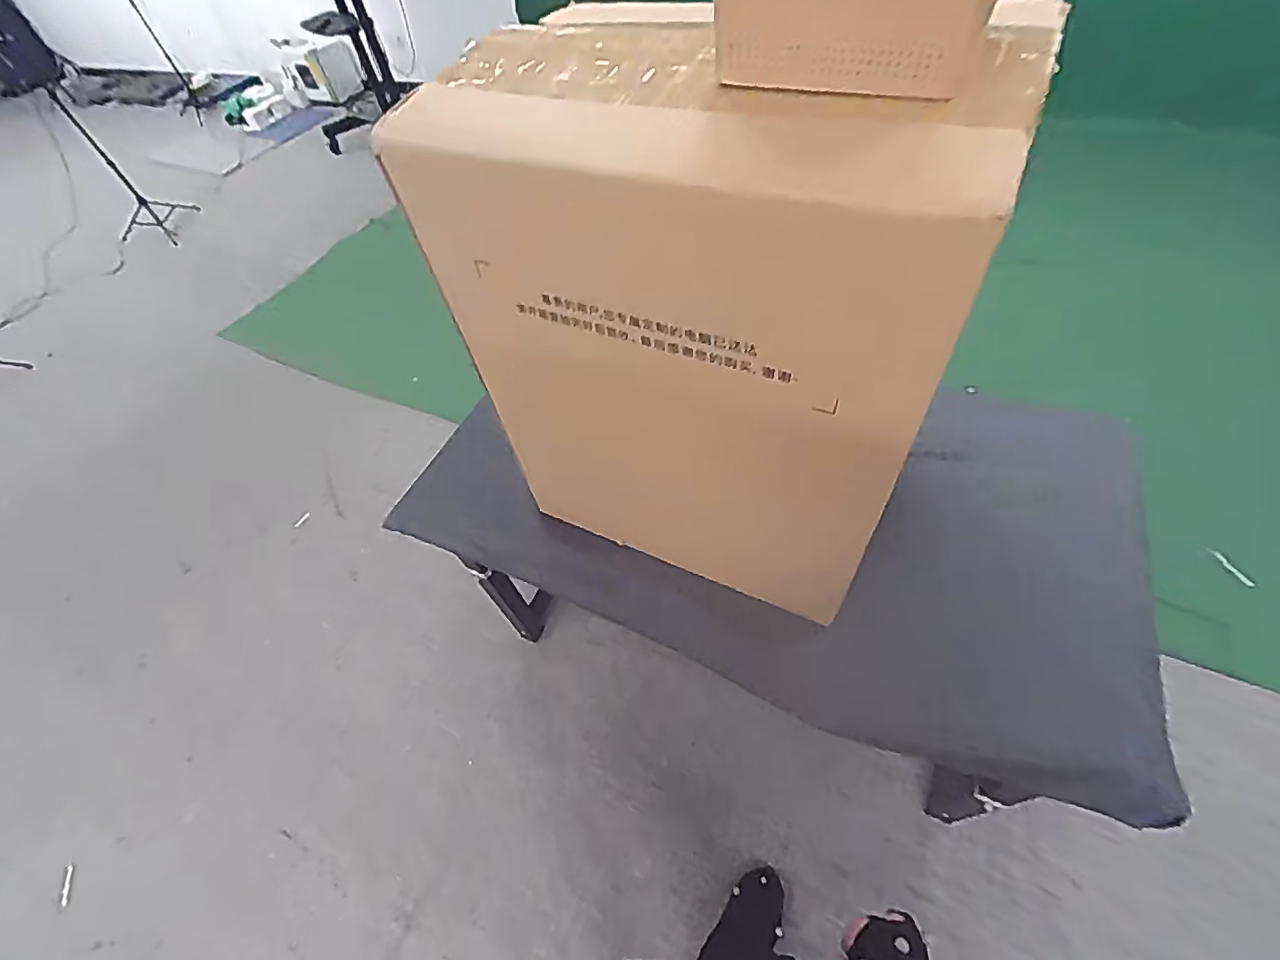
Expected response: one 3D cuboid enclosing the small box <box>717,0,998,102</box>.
[{"bbox_3d":[0.157,-0.386,0.363,0.179,0.176,0.168,20,65,22],"label":"small box"}]
